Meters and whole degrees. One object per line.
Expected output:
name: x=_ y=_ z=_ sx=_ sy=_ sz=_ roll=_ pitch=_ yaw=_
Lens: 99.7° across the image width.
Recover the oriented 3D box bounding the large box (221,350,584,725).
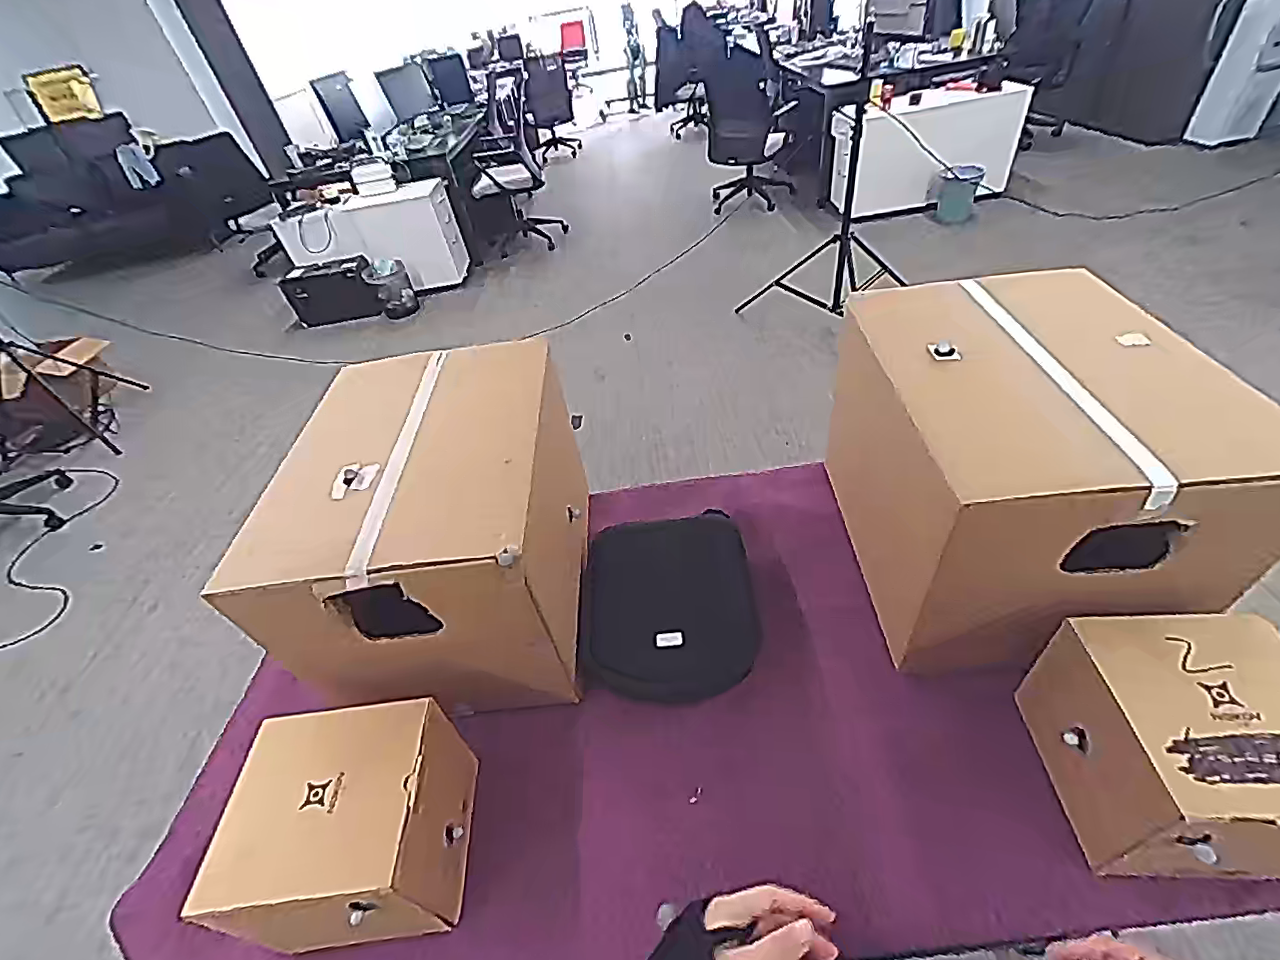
large box: x=-0.256 y=0.072 z=0.761 sx=0.320 sy=0.320 sz=0.408 roll=-8 pitch=45 yaw=3
